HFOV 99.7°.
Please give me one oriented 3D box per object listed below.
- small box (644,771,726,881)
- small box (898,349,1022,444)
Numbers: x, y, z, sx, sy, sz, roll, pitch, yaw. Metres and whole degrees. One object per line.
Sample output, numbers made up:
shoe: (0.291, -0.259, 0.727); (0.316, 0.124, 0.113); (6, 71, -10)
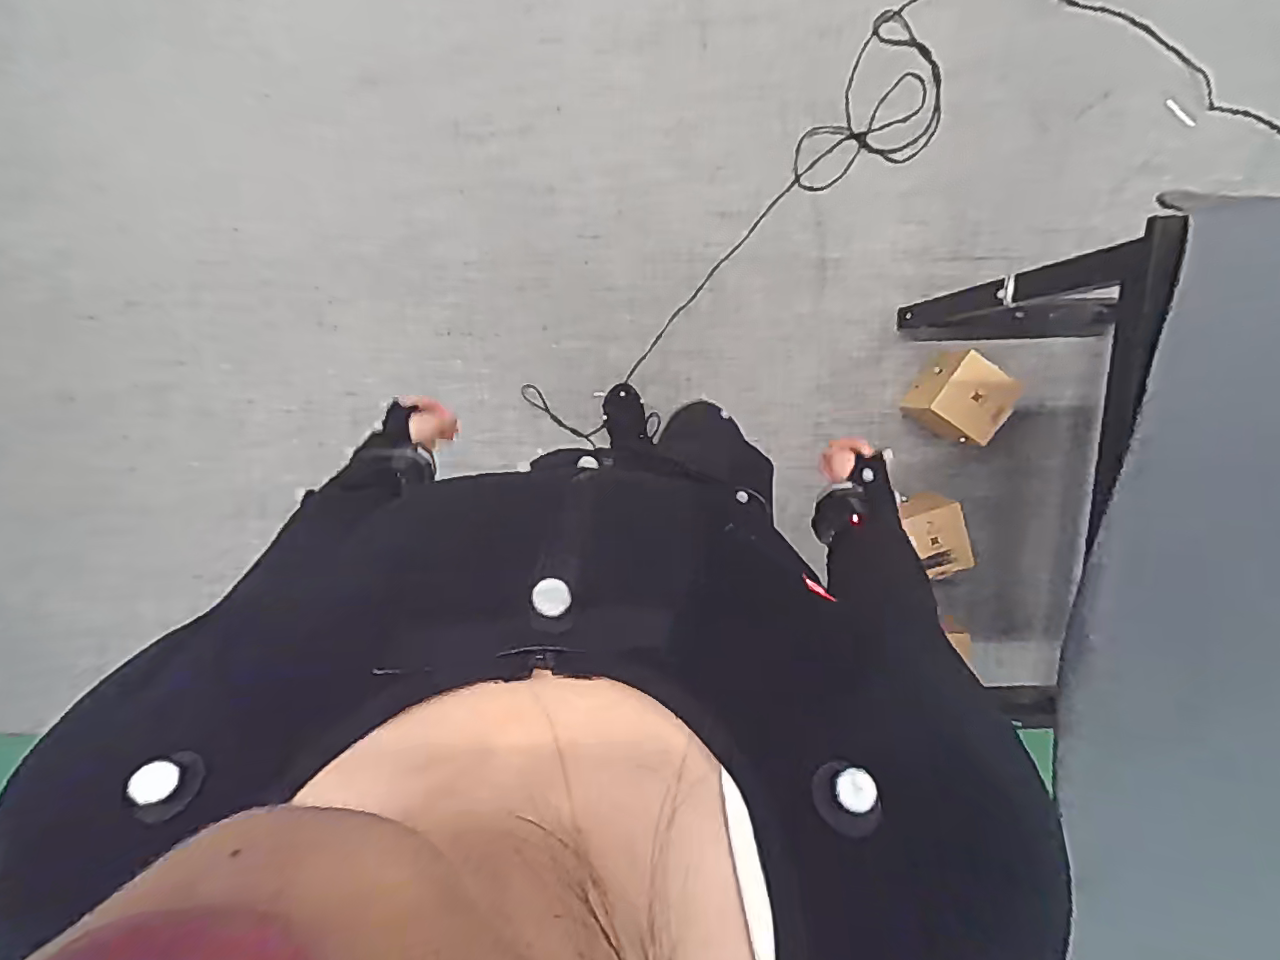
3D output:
small box: (0.121, 0.996, 1.572); (0.168, 0.176, 0.179); (33, 97, -6)
small box: (0.797, -0.209, 1.369); (0.179, 0.176, 0.168); (31, 98, -6)
